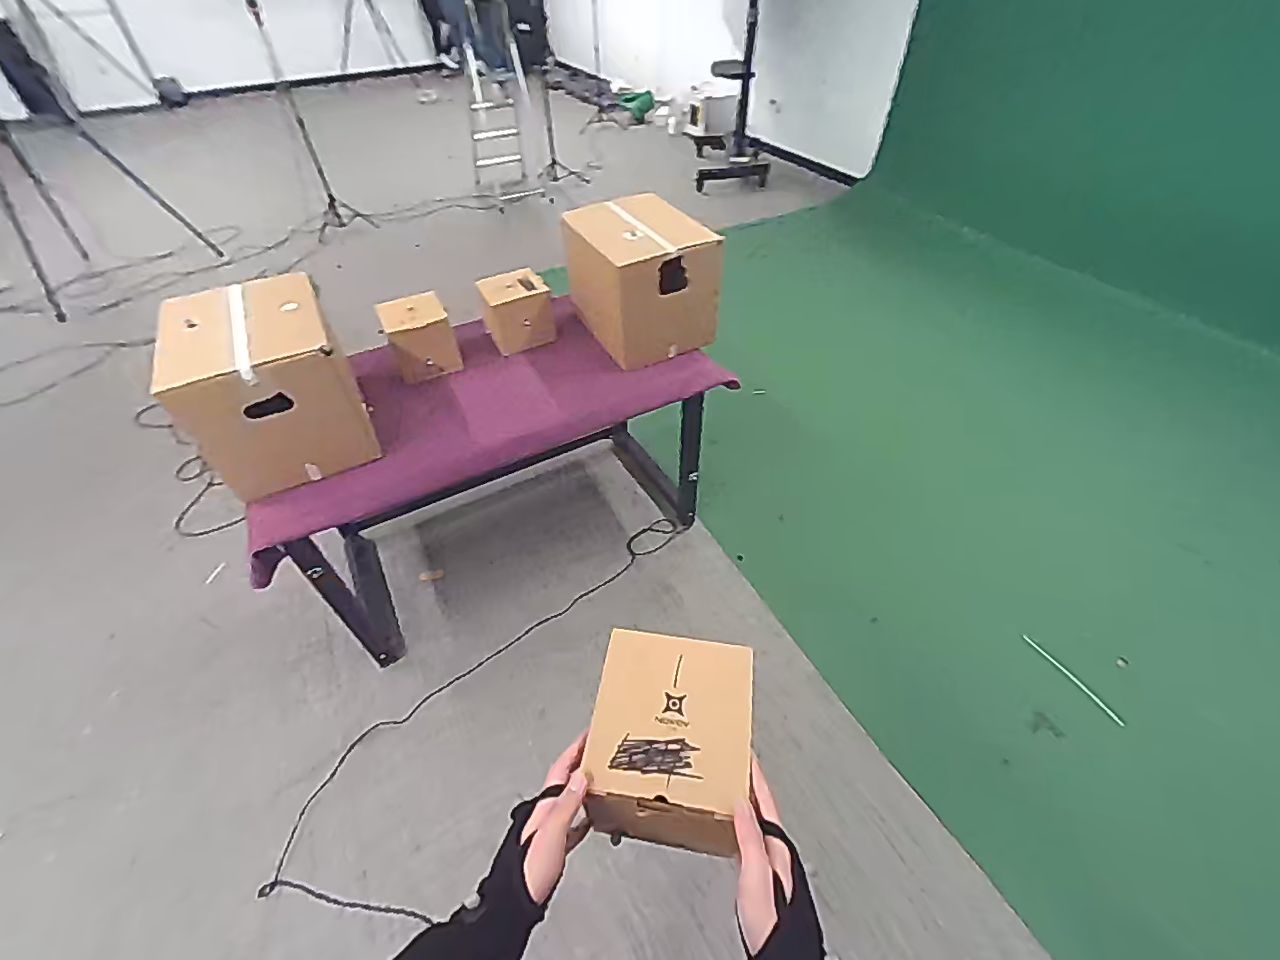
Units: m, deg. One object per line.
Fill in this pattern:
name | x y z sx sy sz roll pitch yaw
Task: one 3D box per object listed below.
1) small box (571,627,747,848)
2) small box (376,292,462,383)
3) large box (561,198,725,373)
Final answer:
small box | 0.030 0.296 0.619 0.168 0.176 0.179 5 45 8
small box | -0.621 -0.401 1.526 0.168 0.176 0.179 -22 50 -18
large box | -0.001 -0.579 1.589 0.320 0.320 0.408 -22 50 -17
